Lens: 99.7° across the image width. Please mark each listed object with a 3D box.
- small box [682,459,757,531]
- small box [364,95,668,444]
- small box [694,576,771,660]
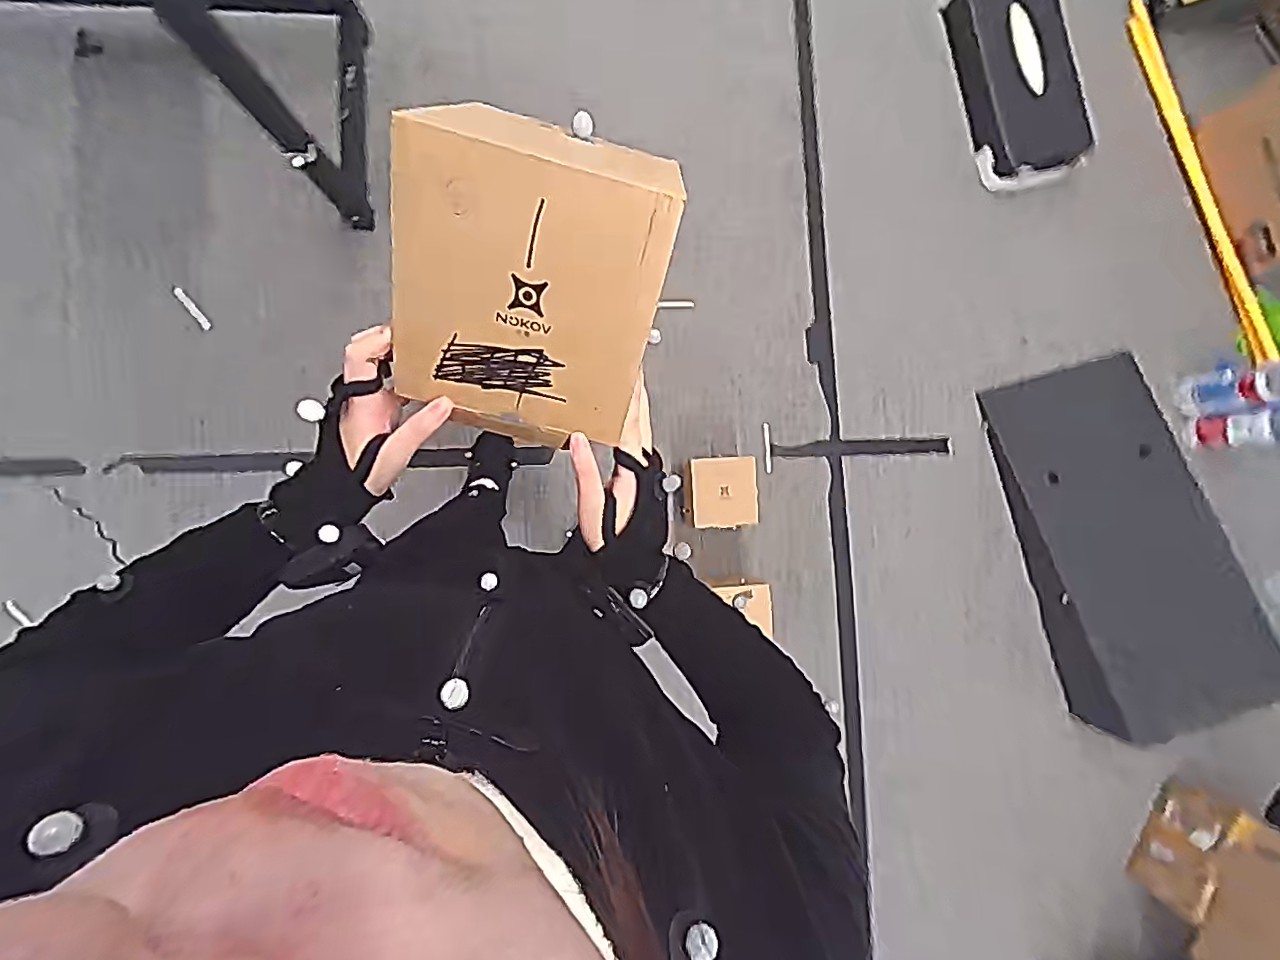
[{"bbox_3d":[0.205,0.037,1.422,0.168,0.176,0.179,-2,89,-4],"label":"small box"},{"bbox_3d":[-0.080,-0.156,0.397,0.168,0.176,0.179,12,125,-8],"label":"small box"},{"bbox_3d":[0.238,0.356,1.417,0.168,0.176,0.179,-2,89,-4],"label":"small box"}]
